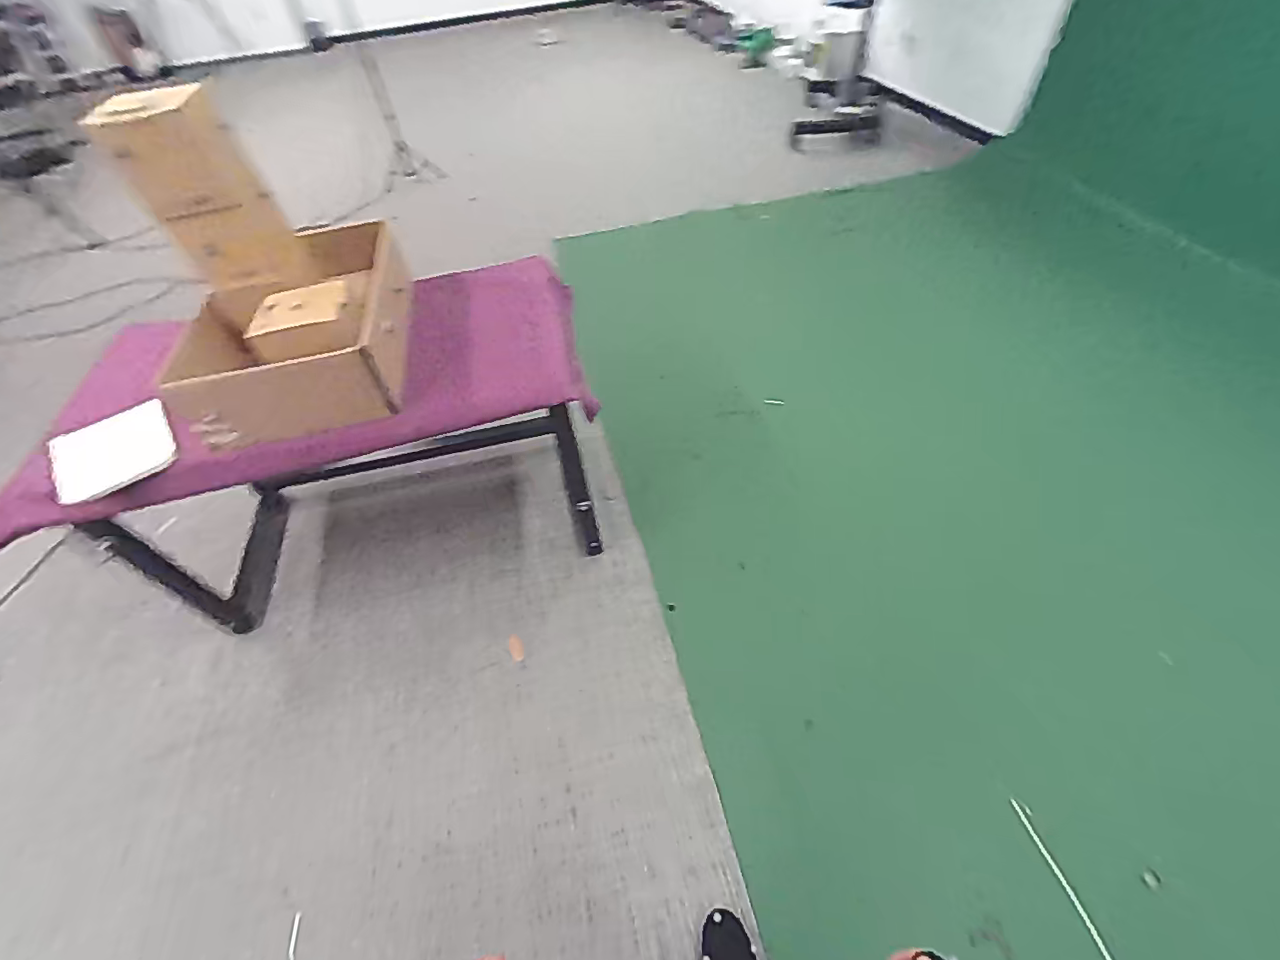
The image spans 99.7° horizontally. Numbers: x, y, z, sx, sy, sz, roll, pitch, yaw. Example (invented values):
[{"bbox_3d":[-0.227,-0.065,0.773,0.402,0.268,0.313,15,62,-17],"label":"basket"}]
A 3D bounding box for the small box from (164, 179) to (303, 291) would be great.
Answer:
[{"bbox_3d":[-0.888,-0.537,1.204,0.168,0.176,0.179,-11,50,-4],"label":"small box"}]
